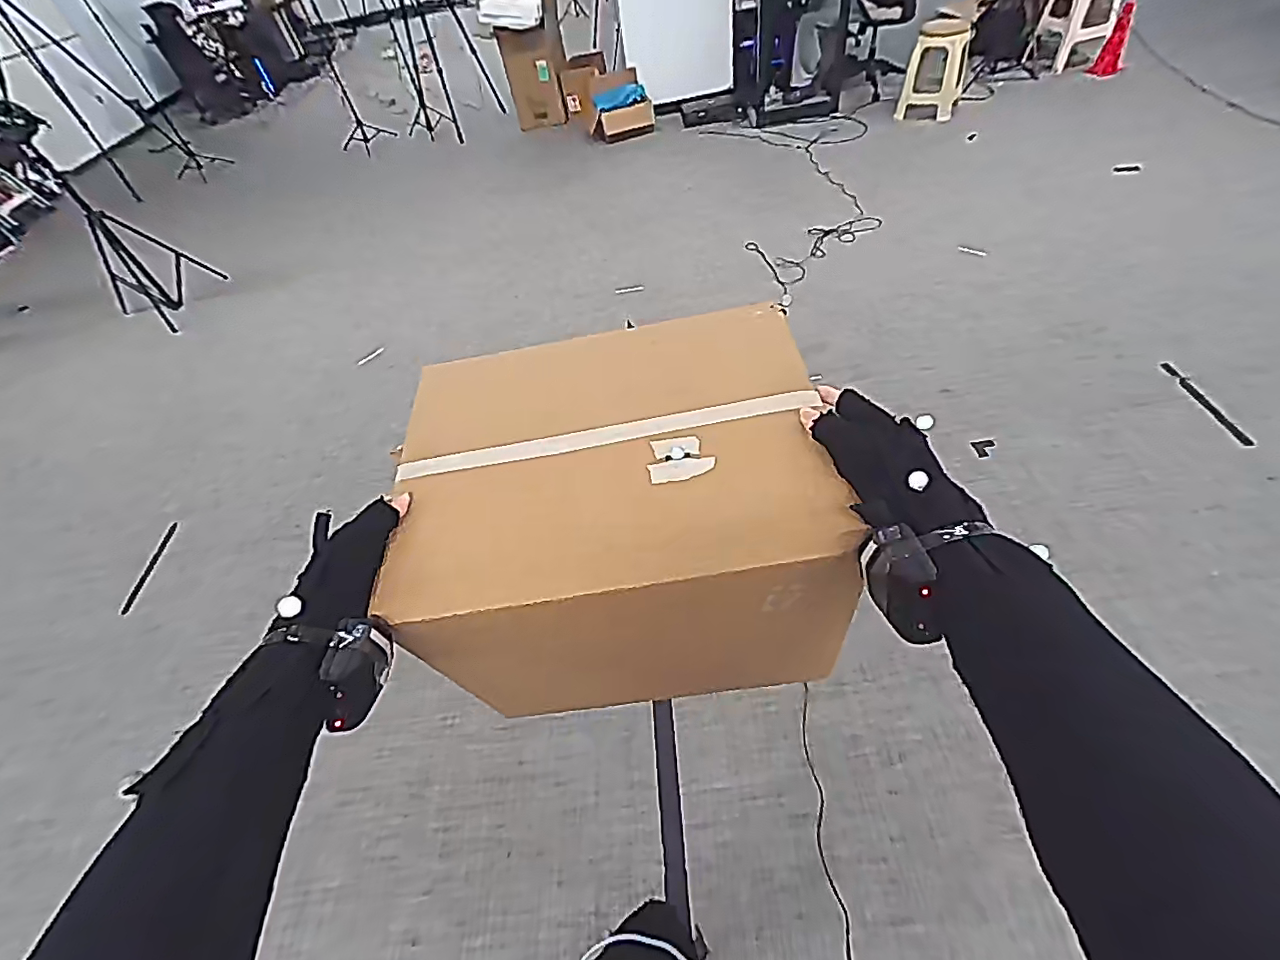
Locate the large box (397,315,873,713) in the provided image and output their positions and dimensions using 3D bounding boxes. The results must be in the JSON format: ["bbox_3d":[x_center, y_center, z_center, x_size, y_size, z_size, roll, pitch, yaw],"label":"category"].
[{"bbox_3d":[-0.003,0.055,0.644,0.408,0.320,0.320,-9,53,3],"label":"large box"}]
